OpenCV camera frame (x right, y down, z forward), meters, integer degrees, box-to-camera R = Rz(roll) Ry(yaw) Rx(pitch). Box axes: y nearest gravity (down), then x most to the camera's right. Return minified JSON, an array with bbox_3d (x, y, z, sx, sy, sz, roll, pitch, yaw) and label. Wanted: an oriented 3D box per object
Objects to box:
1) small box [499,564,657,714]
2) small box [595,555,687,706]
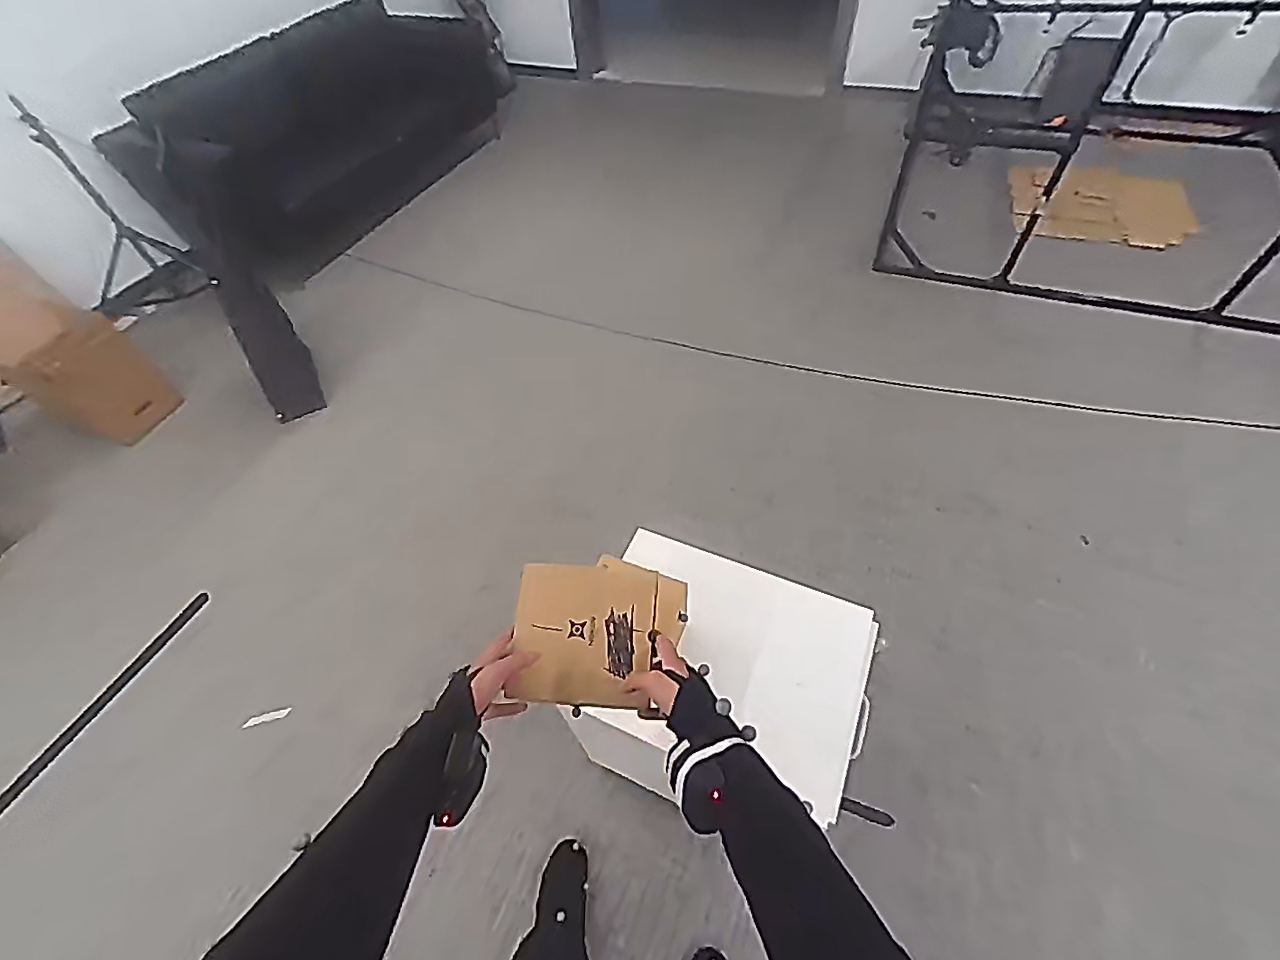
[{"bbox_3d":[-0.069,0.219,0.729,0.179,0.176,0.168,3,66,4],"label":"small box"},{"bbox_3d":[-0.024,0.268,0.960,0.168,0.176,0.179,17,55,17],"label":"small box"}]
